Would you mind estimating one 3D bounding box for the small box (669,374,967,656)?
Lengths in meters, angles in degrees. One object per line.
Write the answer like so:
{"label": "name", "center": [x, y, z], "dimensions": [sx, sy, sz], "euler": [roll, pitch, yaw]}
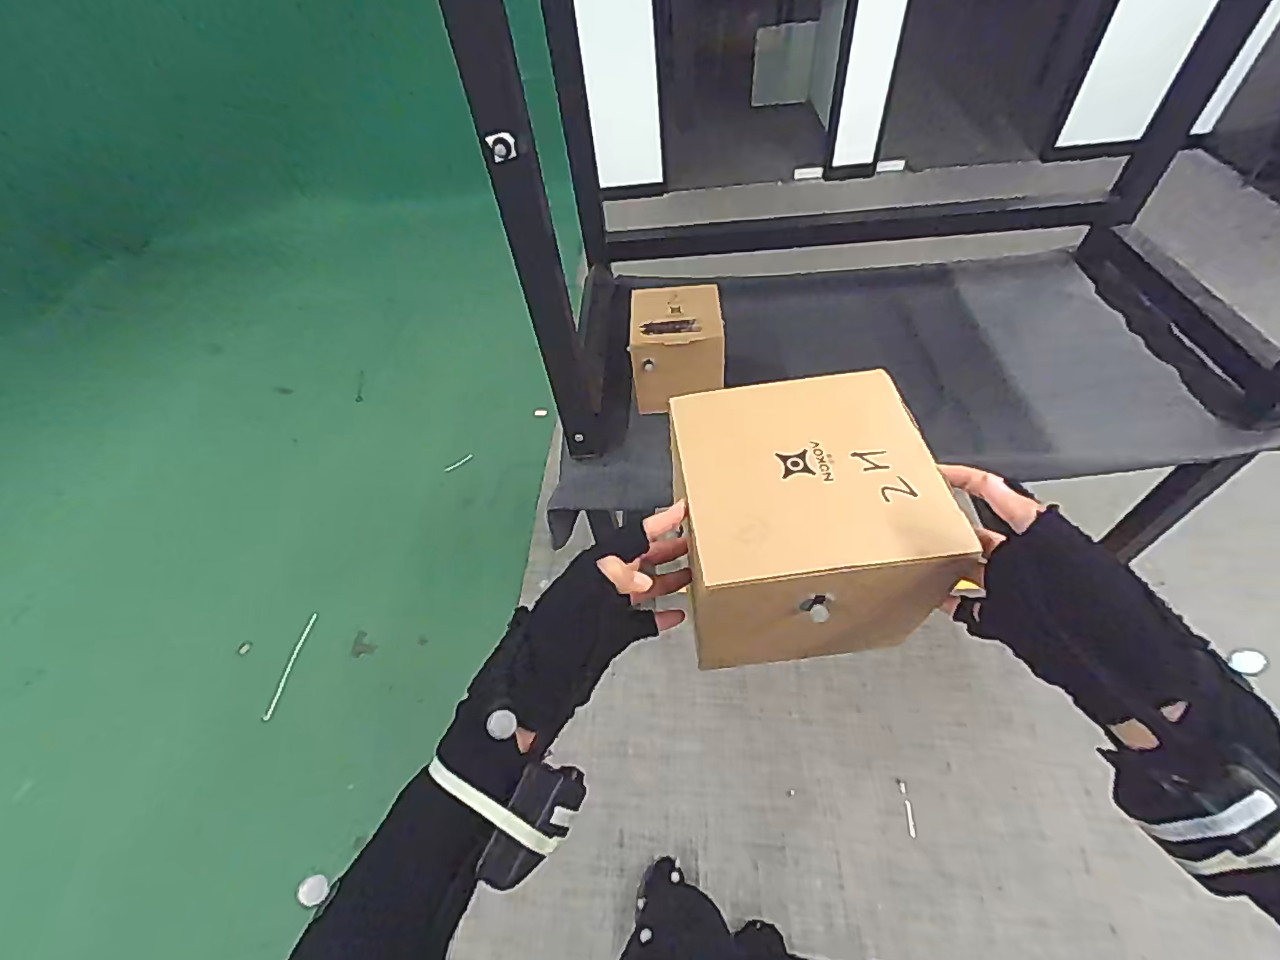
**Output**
{"label": "small box", "center": [0.122, 0.037, 0.453], "dimensions": [0.179, 0.176, 0.168], "euler": [-6, 54, 0]}
